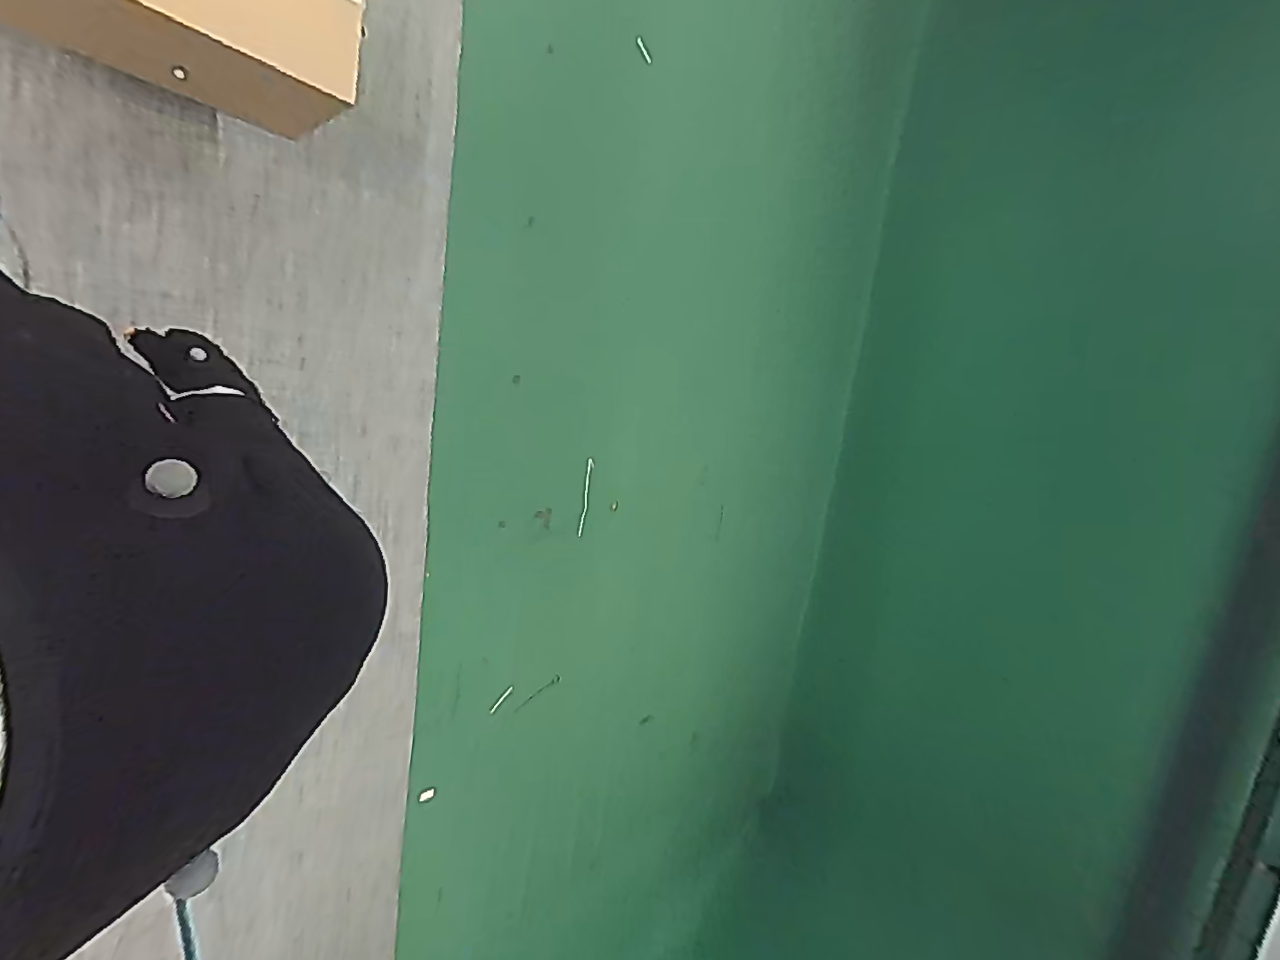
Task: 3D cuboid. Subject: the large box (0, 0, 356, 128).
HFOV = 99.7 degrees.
[{"bbox_3d":[-0.699,-0.812,0.825,0.408,0.320,0.320,-1,103,-49],"label":"large box"}]
